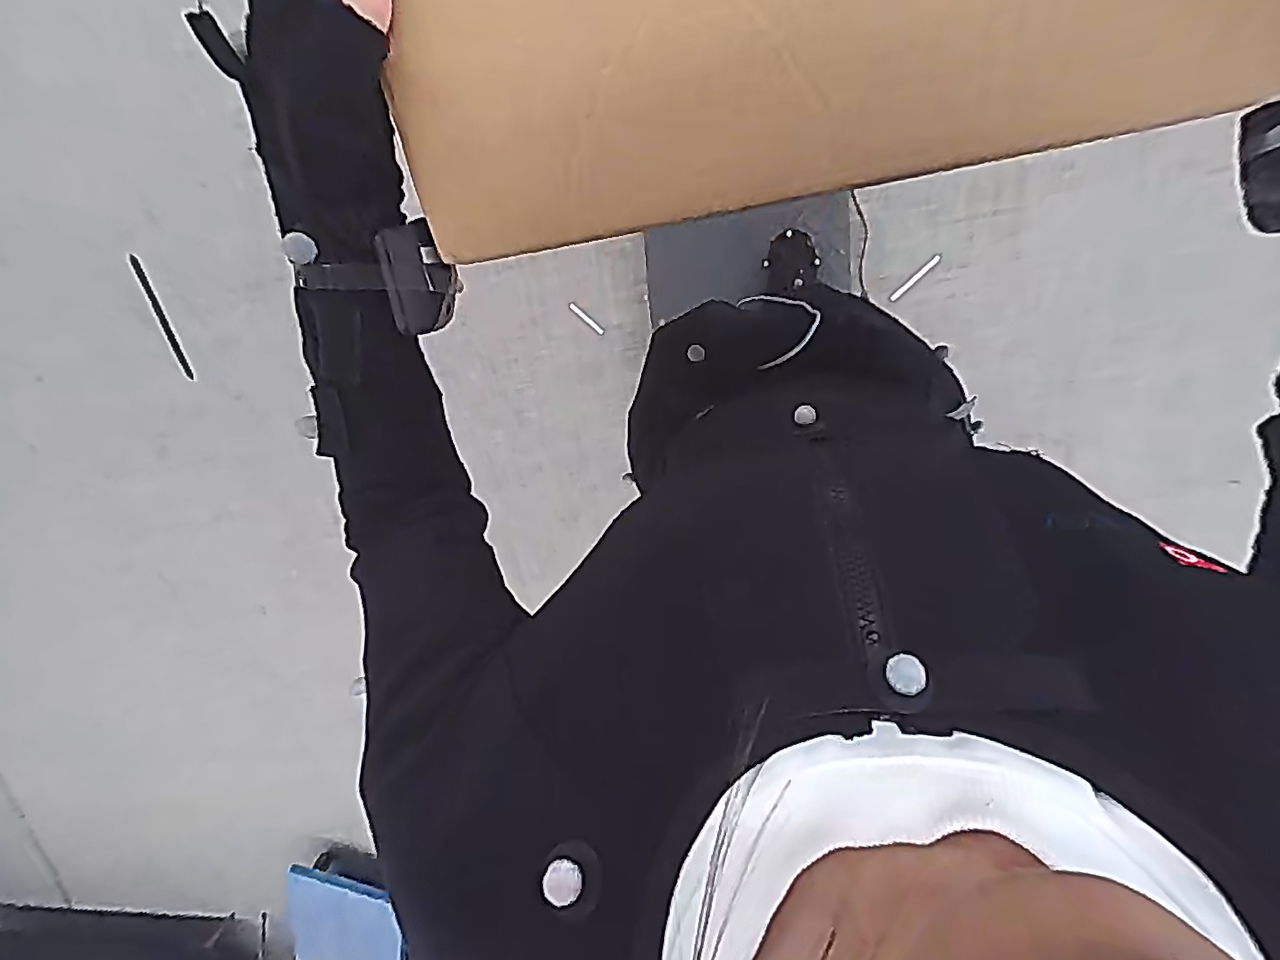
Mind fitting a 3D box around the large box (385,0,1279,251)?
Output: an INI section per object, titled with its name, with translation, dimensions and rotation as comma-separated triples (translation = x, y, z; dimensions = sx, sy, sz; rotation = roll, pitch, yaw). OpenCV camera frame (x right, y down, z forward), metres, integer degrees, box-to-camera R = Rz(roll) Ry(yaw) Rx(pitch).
[large box]
translation = 0.075, -0.360, 0.349
dimensions = 0.408, 0.320, 0.320
rotation = -7, 116, 11
